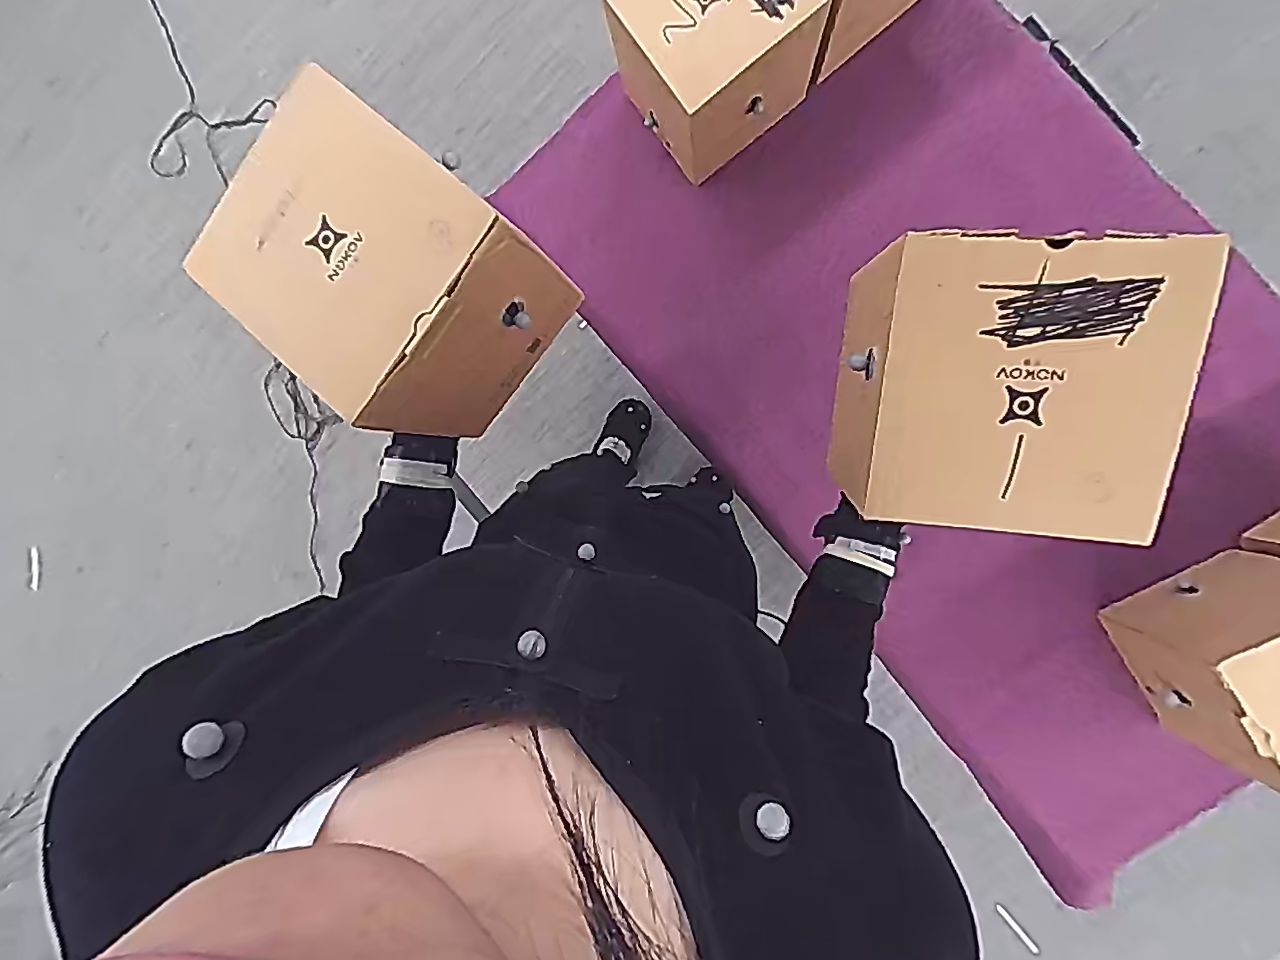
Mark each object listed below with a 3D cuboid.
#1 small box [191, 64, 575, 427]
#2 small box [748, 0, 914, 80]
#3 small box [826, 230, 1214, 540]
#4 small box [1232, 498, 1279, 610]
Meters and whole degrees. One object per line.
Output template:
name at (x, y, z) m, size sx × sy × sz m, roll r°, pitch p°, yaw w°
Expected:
small box at (-0.179, -0.156, 0.427) m, size 0.179 × 0.176 × 0.168 m, roll 41°, pitch 98°, yaw 8°
small box at (0.232, -0.614, 0.602) m, size 0.179 × 0.176 × 0.168 m, roll -37°, pitch 89°, yaw 9°
small box at (0.243, -0.072, 0.403) m, size 0.168 × 0.176 × 0.179 m, roll 6°, pitch 104°, yaw 9°
small box at (0.829, 0.083, 0.577) m, size 0.179 × 0.176 × 0.168 m, roll -37°, pitch 90°, yaw 7°
